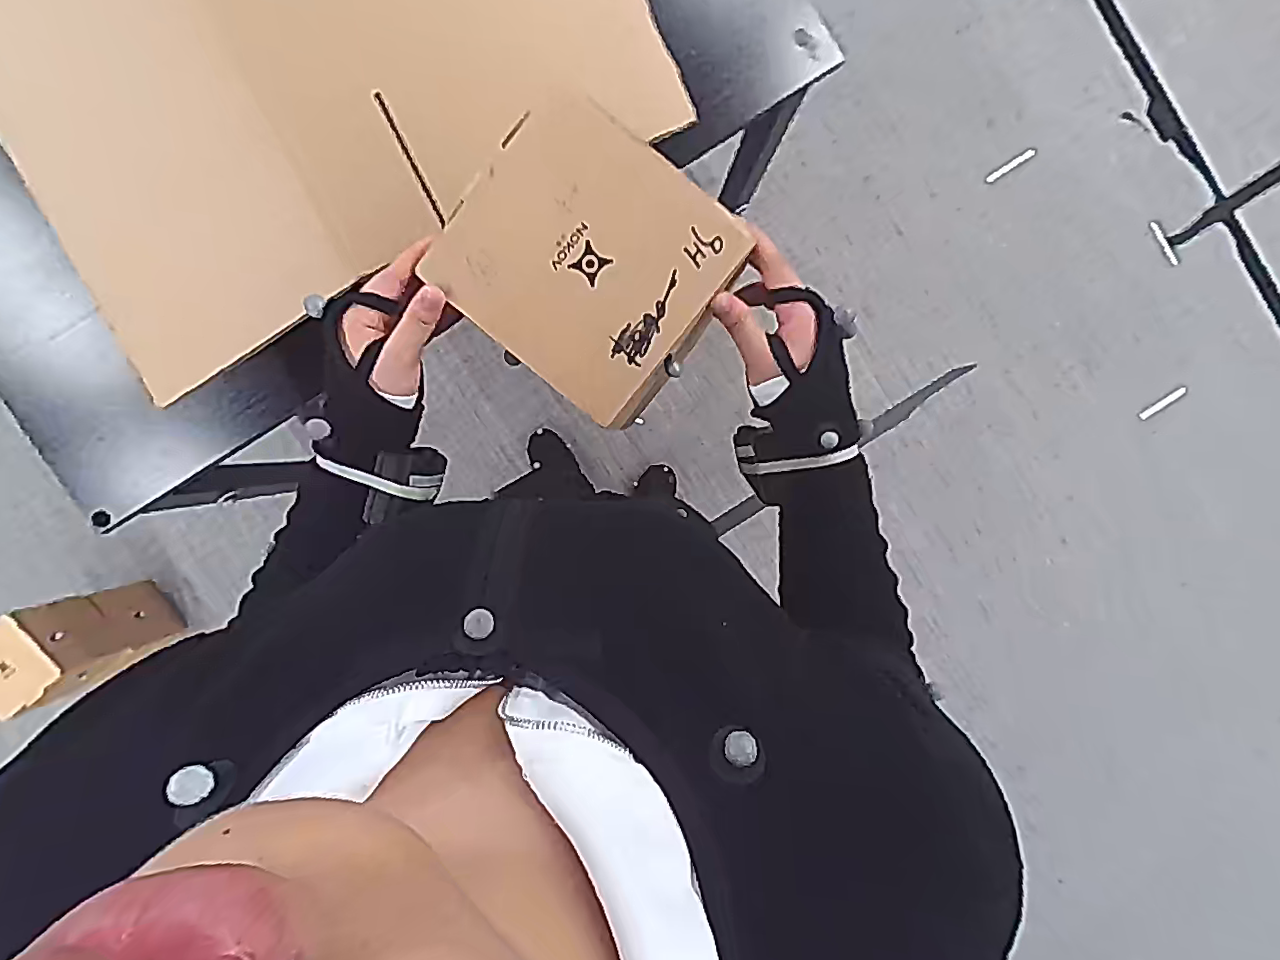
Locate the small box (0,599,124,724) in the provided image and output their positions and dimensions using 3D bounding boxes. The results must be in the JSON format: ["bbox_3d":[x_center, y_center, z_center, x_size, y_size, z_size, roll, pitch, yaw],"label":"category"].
[{"bbox_3d":[-1.336,0.393,1.209,0.168,0.176,0.179,-40,93,-1],"label":"small box"}]

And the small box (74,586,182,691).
[{"bbox_3d":[-1.339,0.389,1.371,0.168,0.176,0.179,-36,95,0],"label":"small box"}]
